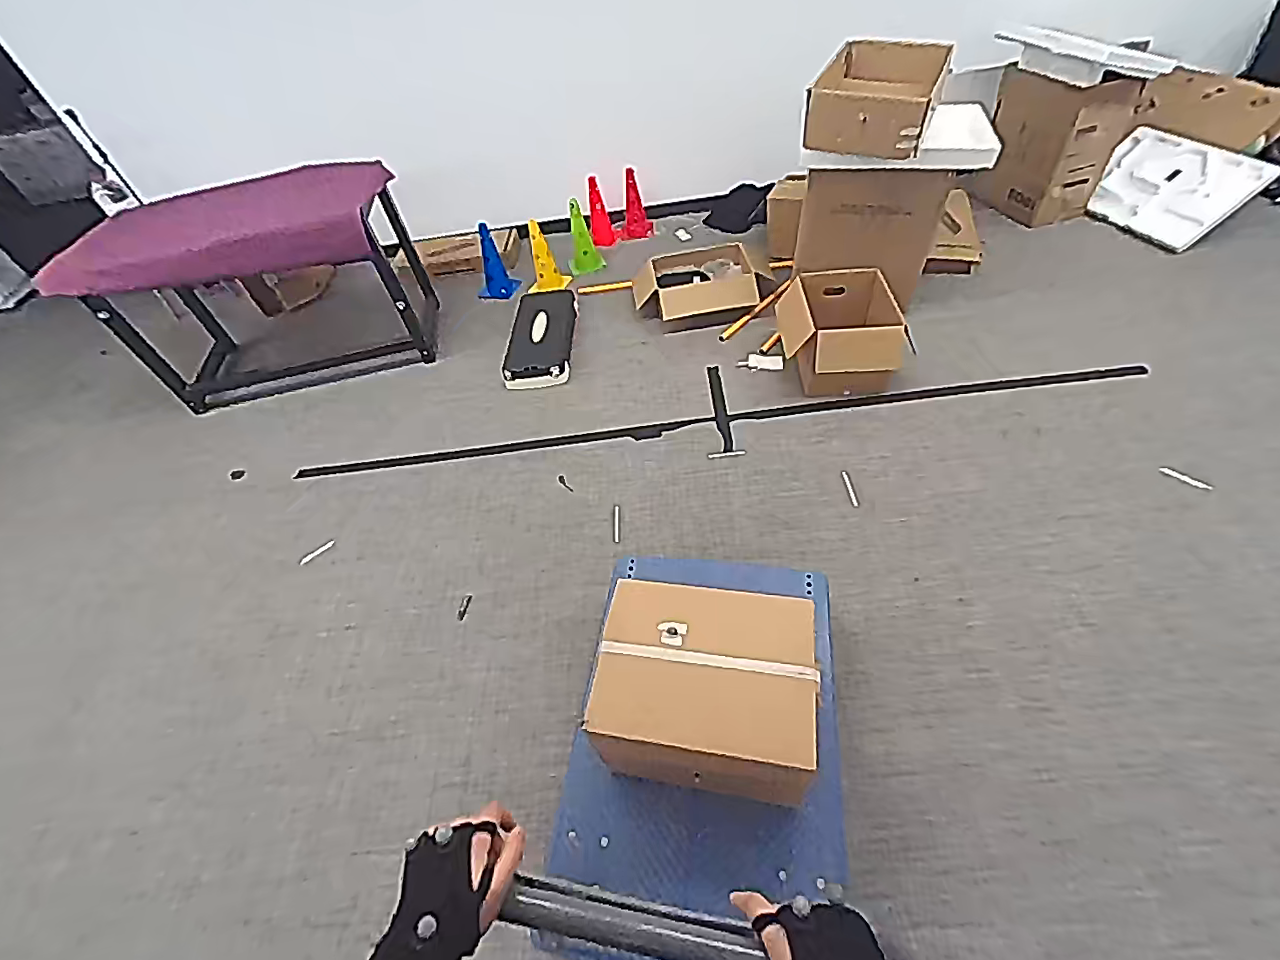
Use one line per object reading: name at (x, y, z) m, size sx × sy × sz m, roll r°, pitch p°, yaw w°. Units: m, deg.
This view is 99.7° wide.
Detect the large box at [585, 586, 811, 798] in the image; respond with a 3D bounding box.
large box at (0.139, 0.448, 1.148) m, size 0.408 × 0.320 × 0.320 m, roll 3°, pitch 49°, yaw 13°
